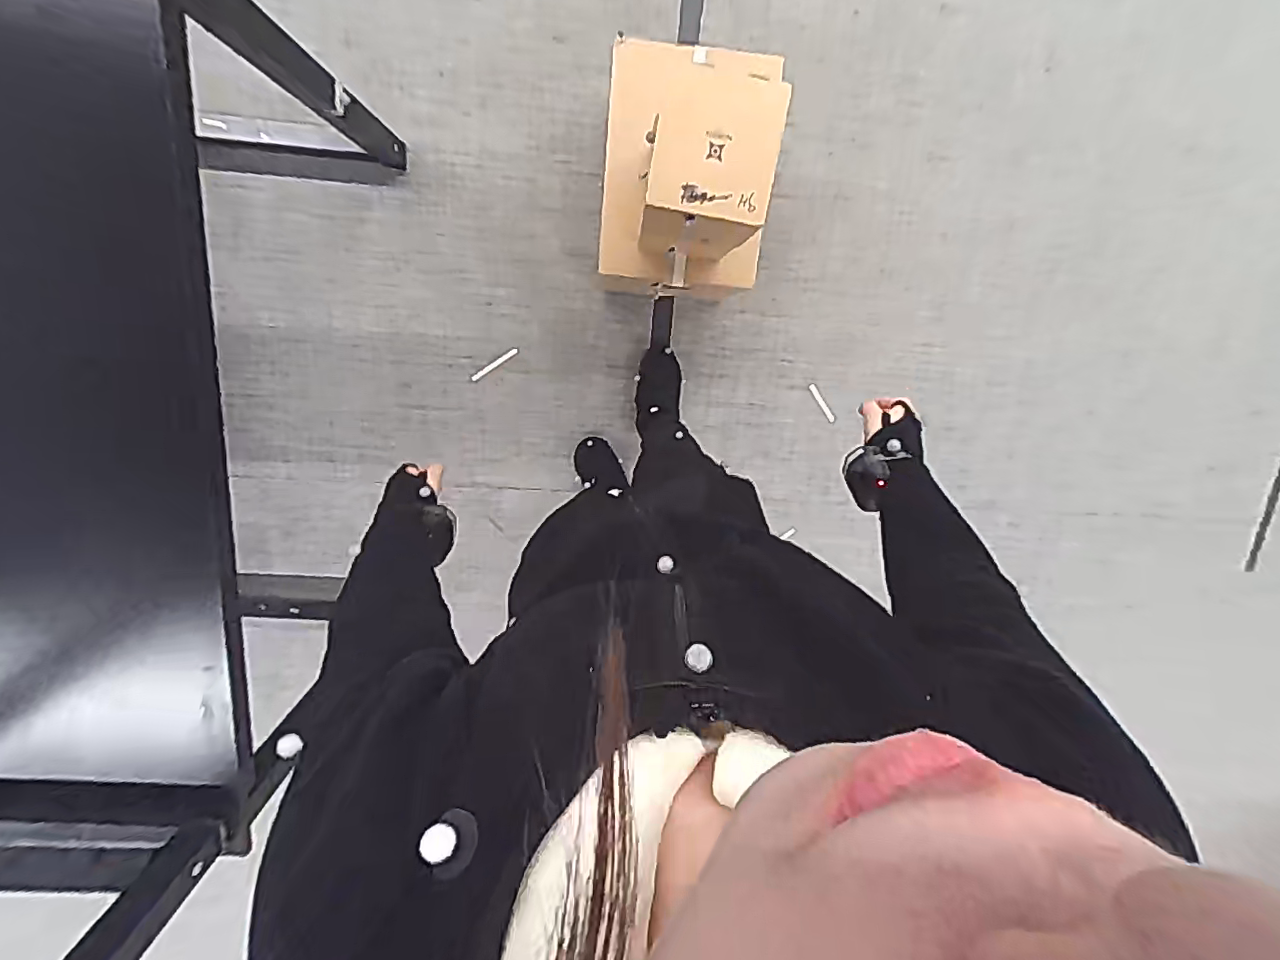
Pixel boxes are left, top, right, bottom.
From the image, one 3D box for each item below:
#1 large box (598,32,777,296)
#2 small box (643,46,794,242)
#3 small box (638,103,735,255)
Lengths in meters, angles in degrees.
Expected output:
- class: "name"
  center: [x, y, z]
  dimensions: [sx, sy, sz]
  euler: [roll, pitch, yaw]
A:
- class: "large box"
  center: [0.076, -0.624, 1.153]
  dimensions: [0.320, 0.320, 0.408]
  euler: [3, 103, -5]
- class: "small box"
  center: [0.098, -0.462, 0.774]
  dimensions: [0.168, 0.176, 0.179]
  euler: [9, 102, -4]
- class: "small box"
  center: [0.089, -0.505, 0.932]
  dimensions: [0.168, 0.176, 0.179]
  euler: [8, 104, -4]
